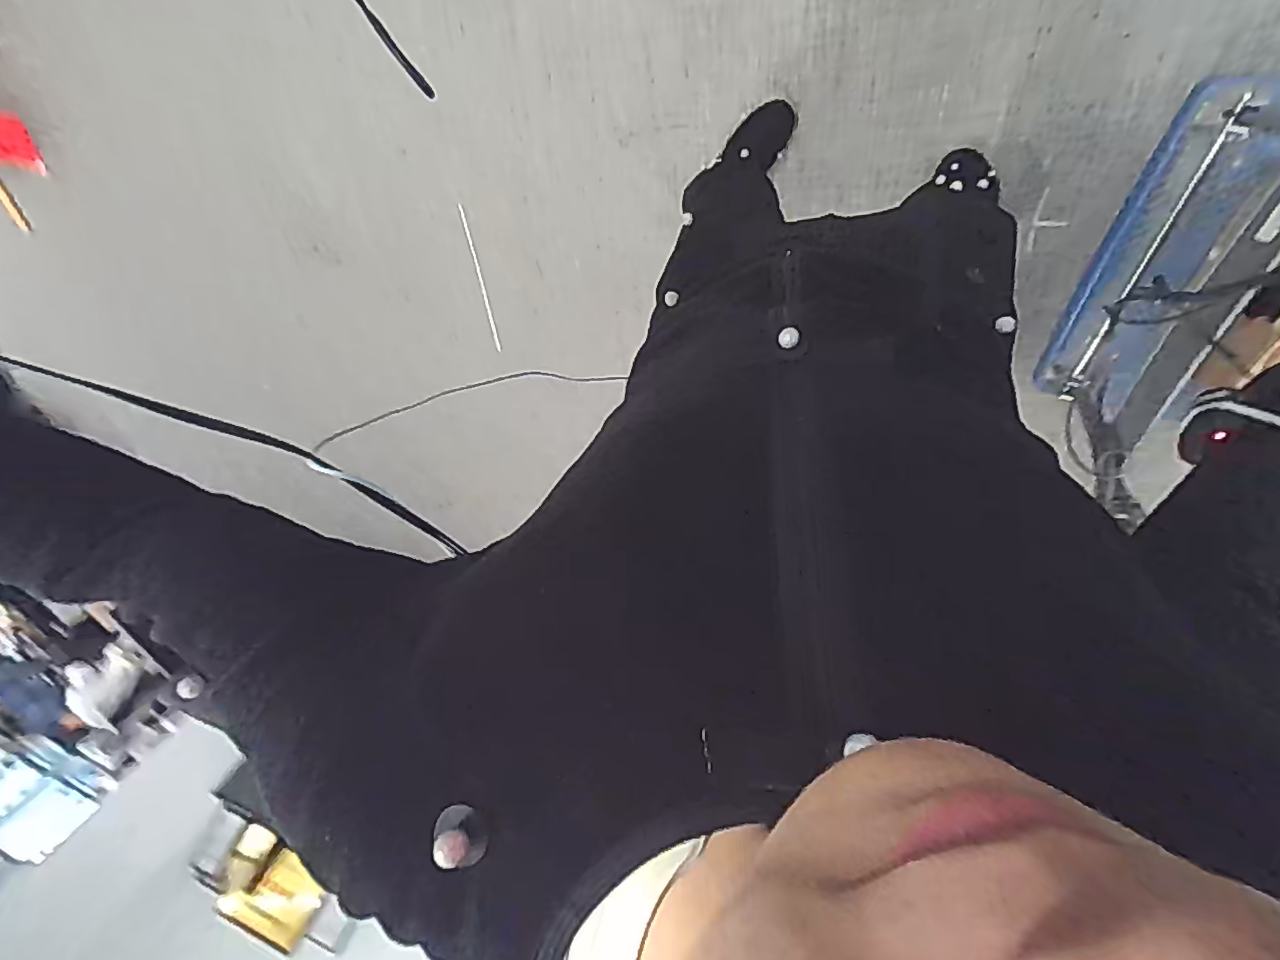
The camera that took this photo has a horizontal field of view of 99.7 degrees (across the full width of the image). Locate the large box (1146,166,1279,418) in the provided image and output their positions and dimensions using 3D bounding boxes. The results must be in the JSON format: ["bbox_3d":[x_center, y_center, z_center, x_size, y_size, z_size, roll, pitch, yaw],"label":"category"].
[{"bbox_3d":[1.152,-0.272,0.835,0.408,0.320,0.320,17,130,13],"label":"large box"}]
